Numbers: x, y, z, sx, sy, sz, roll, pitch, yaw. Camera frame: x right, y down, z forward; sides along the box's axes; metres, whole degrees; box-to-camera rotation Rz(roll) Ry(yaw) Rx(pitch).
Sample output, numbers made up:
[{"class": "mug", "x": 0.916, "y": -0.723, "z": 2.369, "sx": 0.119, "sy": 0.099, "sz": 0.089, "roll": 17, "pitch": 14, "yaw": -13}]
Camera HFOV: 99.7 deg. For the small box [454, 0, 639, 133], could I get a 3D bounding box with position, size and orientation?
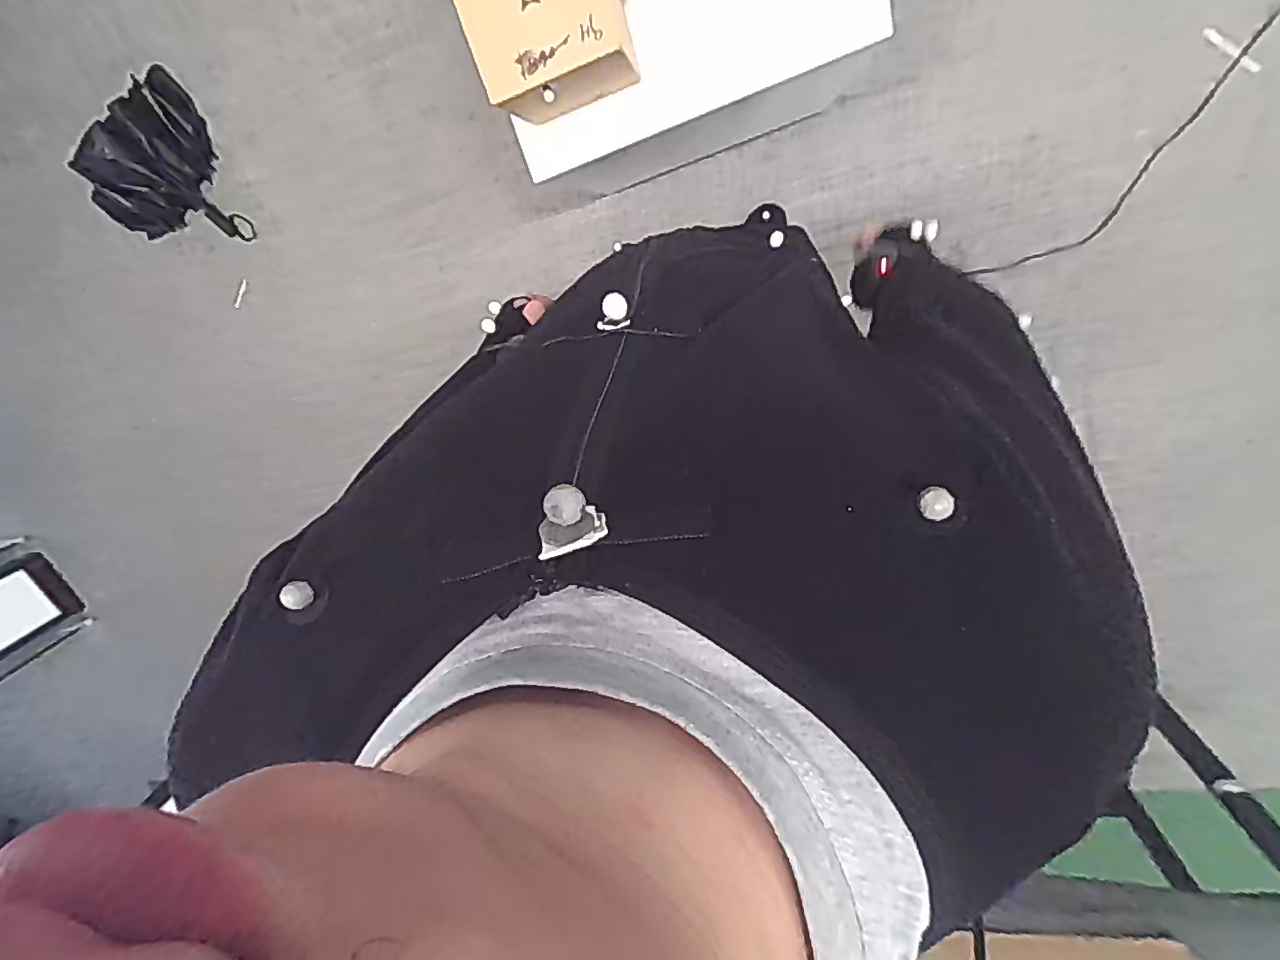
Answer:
[{"class": "small box", "x": -0.111, "y": -0.557, "z": 0.656, "sx": 0.168, "sy": 0.176, "sz": 0.179, "roll": -14, "pitch": 111, "yaw": 15}]
